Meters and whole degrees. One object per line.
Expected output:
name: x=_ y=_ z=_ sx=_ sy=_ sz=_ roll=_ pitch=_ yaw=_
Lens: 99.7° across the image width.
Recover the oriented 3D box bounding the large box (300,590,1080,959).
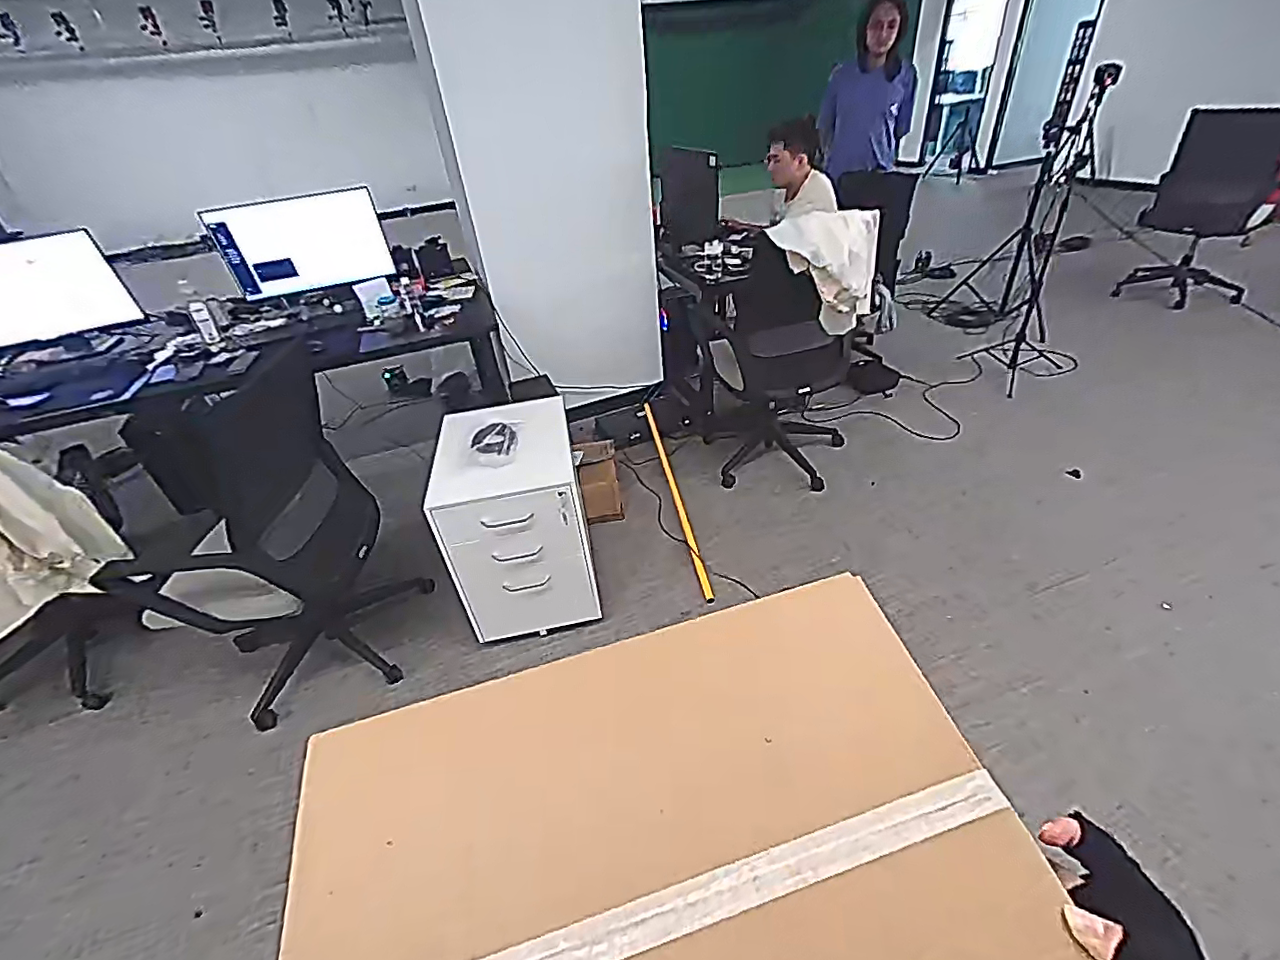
large box: x=0.026 y=0.341 z=0.408 sx=0.408 sy=0.320 sz=0.320 roll=-15 pitch=48 yaw=-7
